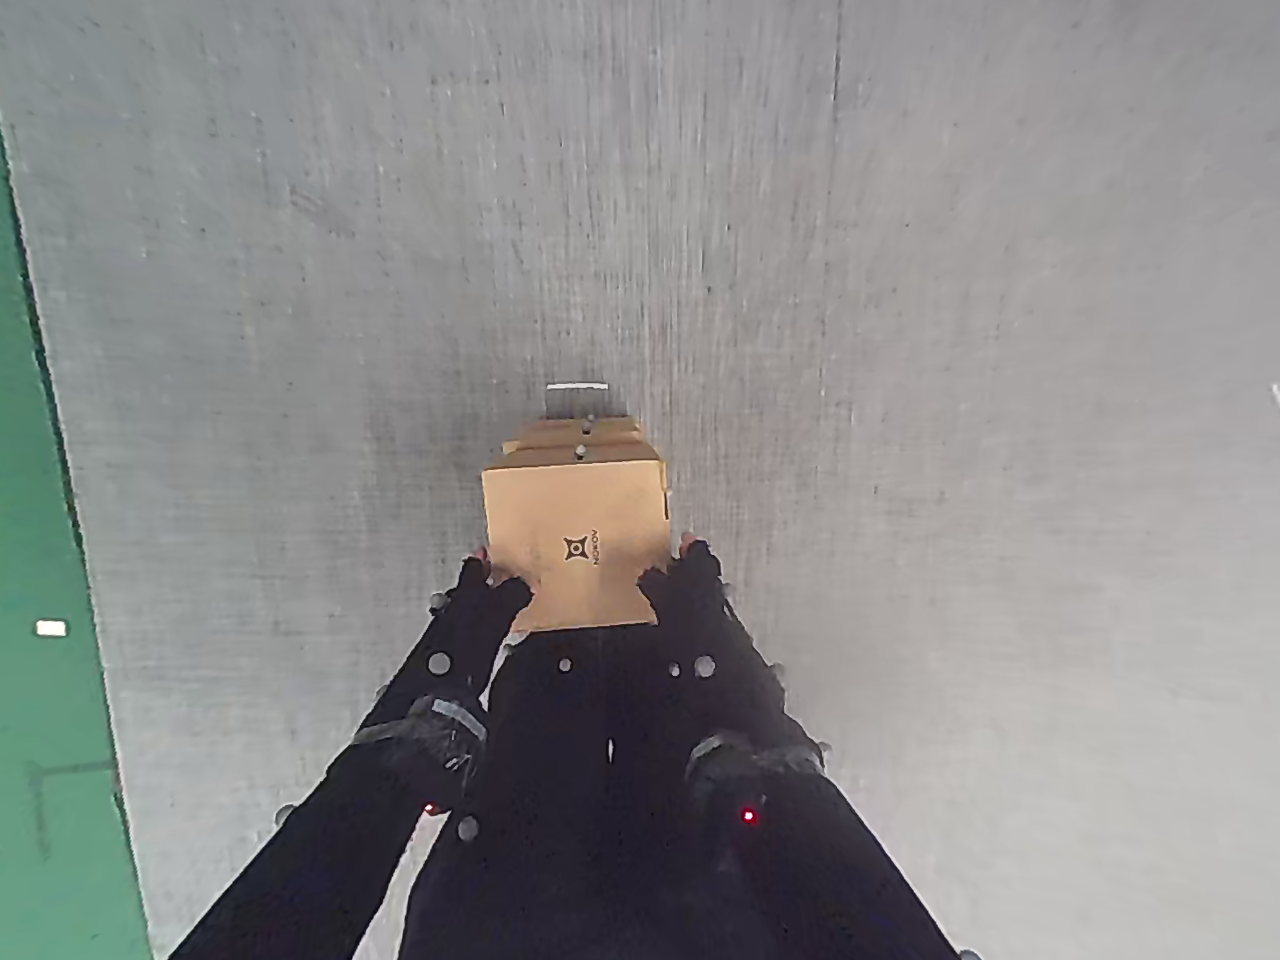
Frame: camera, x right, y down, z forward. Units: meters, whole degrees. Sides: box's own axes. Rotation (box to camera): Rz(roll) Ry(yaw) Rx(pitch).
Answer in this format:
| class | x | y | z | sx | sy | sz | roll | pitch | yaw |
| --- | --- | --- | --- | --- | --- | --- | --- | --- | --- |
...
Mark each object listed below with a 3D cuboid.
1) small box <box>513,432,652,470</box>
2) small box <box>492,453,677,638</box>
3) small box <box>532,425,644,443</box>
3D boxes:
| class | x | y | z | sx | sy | sz | roll | pitch | yaw |
| --- | --- | --- | --- | --- | --- | --- | --- | --- | --- |
| small box | -0.076 | 0.023 | 0.767 | 0.179 | 0.176 | 0.168 | -4 | 100 | -4 |
| small box | -0.057 | 0.061 | 0.610 | 0.179 | 0.176 | 0.168 | -3 | 98 | -2 |
| small box | -0.085 | -0.006 | 0.928 | 0.179 | 0.176 | 0.168 | -2 | 99 | -3 |
